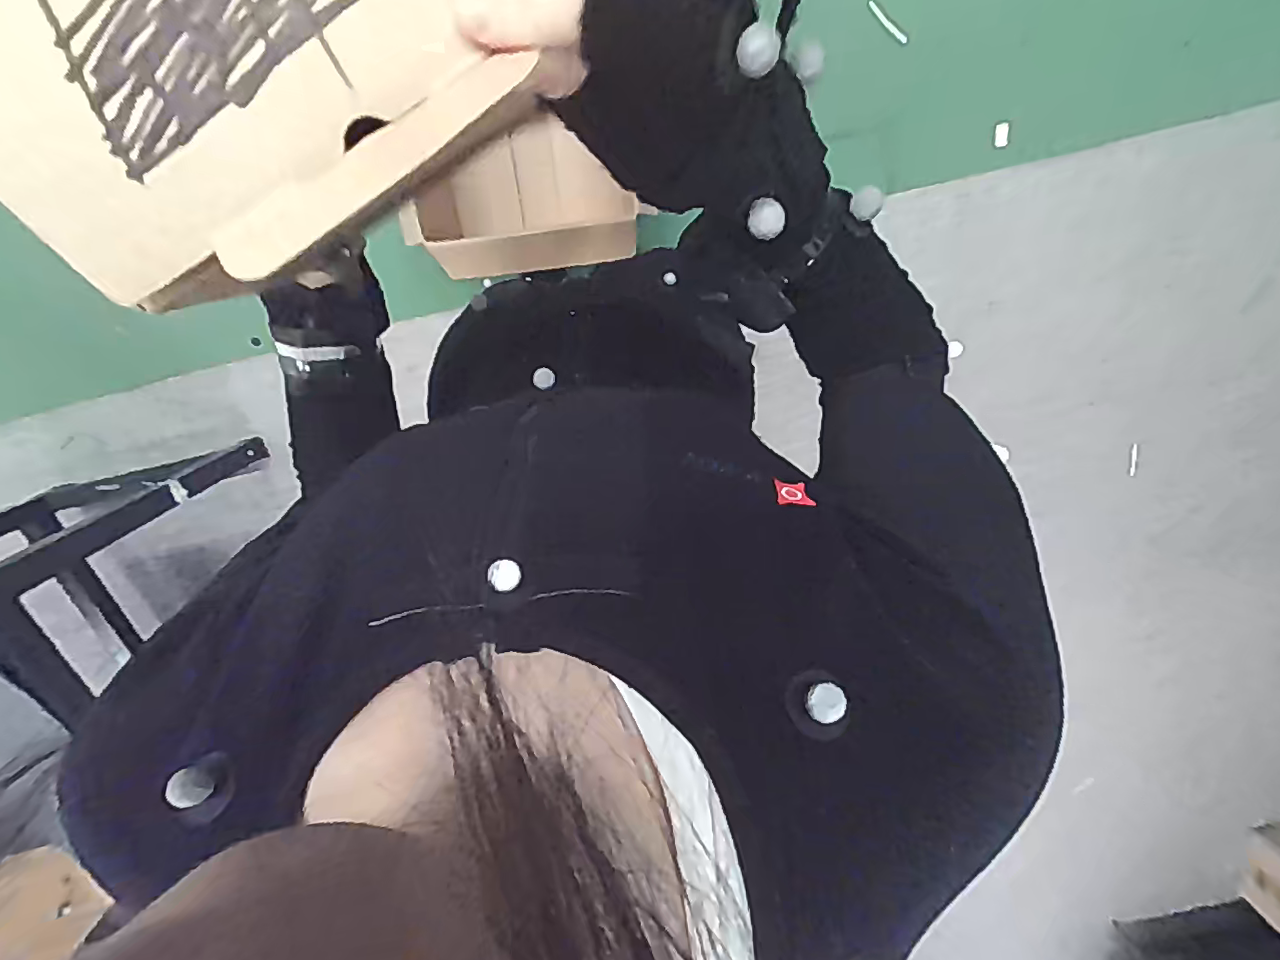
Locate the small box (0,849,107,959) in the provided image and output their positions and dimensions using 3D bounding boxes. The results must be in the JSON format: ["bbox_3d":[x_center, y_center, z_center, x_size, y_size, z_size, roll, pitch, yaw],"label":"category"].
[{"bbox_3d":[-1.060,0.752,0.886,0.179,0.176,0.168,-15,112,1],"label":"small box"}]

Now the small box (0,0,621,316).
[{"bbox_3d":[-0.135,-0.183,0.196,0.168,0.176,0.179,-37,115,-4],"label":"small box"}]
